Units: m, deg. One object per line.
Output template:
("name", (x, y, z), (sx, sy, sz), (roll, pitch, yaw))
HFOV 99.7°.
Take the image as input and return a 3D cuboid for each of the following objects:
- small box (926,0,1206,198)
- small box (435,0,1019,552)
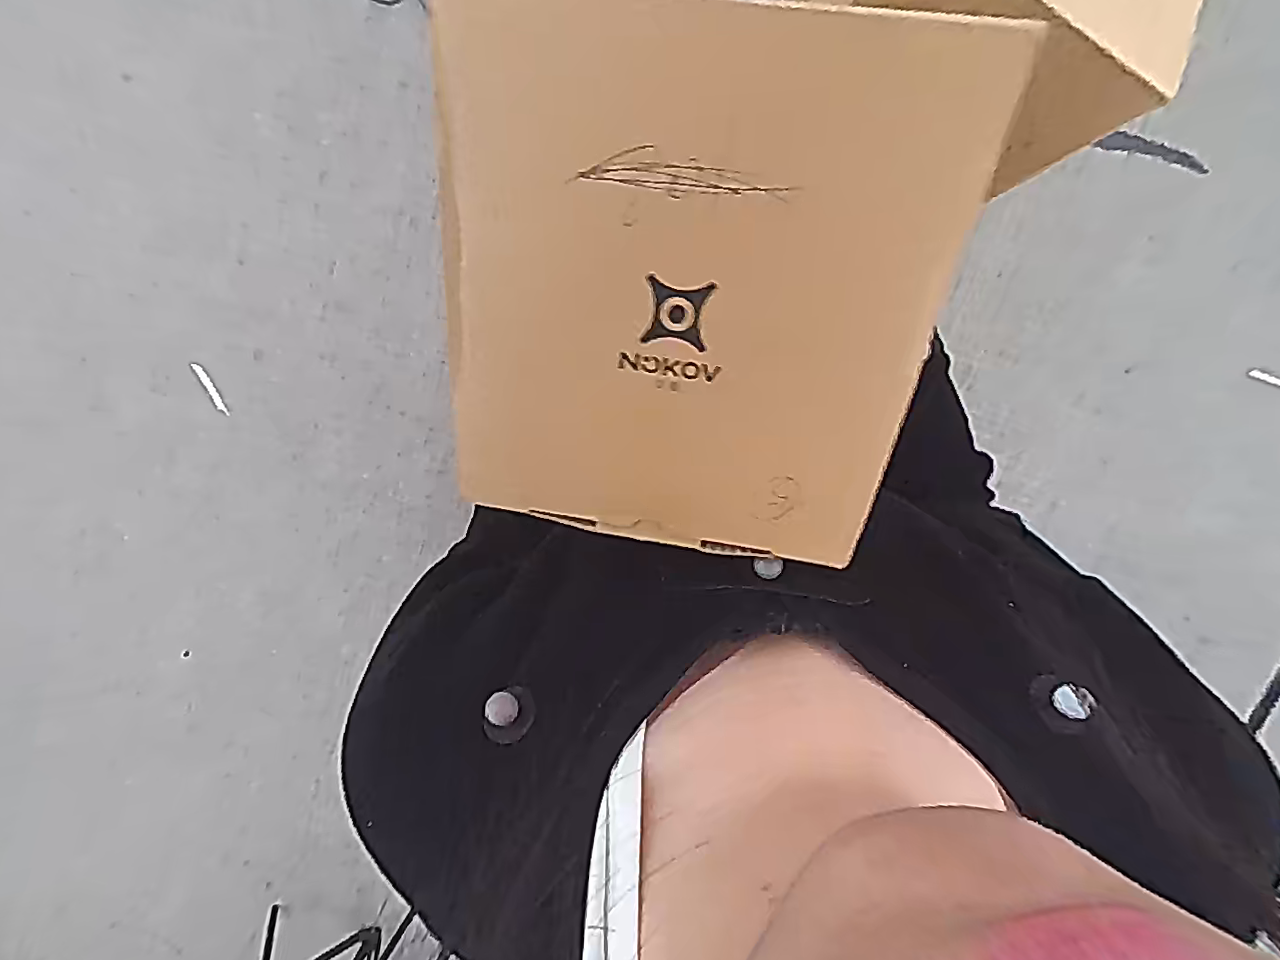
("small box", (0.205, -0.304, 0.338), (0.168, 0.176, 0.179), (21, 84, -15))
("small box", (0.025, -0.094, 0.257), (0.168, 0.176, 0.179), (8, 117, 5))
